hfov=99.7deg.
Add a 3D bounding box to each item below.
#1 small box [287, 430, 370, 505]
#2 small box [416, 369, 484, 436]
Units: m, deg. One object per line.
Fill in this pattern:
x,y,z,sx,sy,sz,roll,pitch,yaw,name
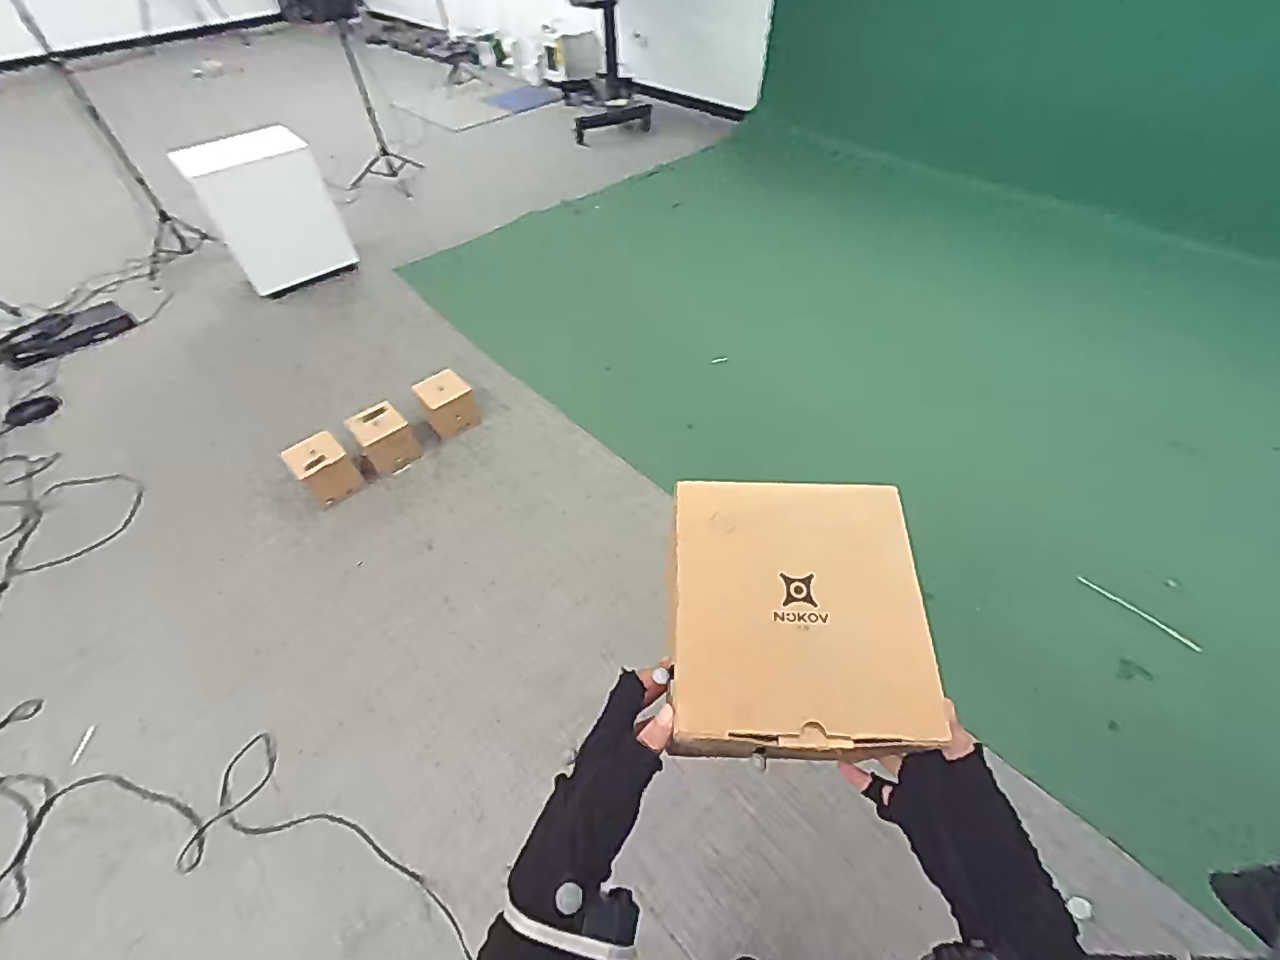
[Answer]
-1.085,-0.037,1.895,0.168,0.176,0.179,-37,57,-25,small box
-0.732,-0.292,2.097,0.168,0.176,0.179,-35,57,-25,small box
